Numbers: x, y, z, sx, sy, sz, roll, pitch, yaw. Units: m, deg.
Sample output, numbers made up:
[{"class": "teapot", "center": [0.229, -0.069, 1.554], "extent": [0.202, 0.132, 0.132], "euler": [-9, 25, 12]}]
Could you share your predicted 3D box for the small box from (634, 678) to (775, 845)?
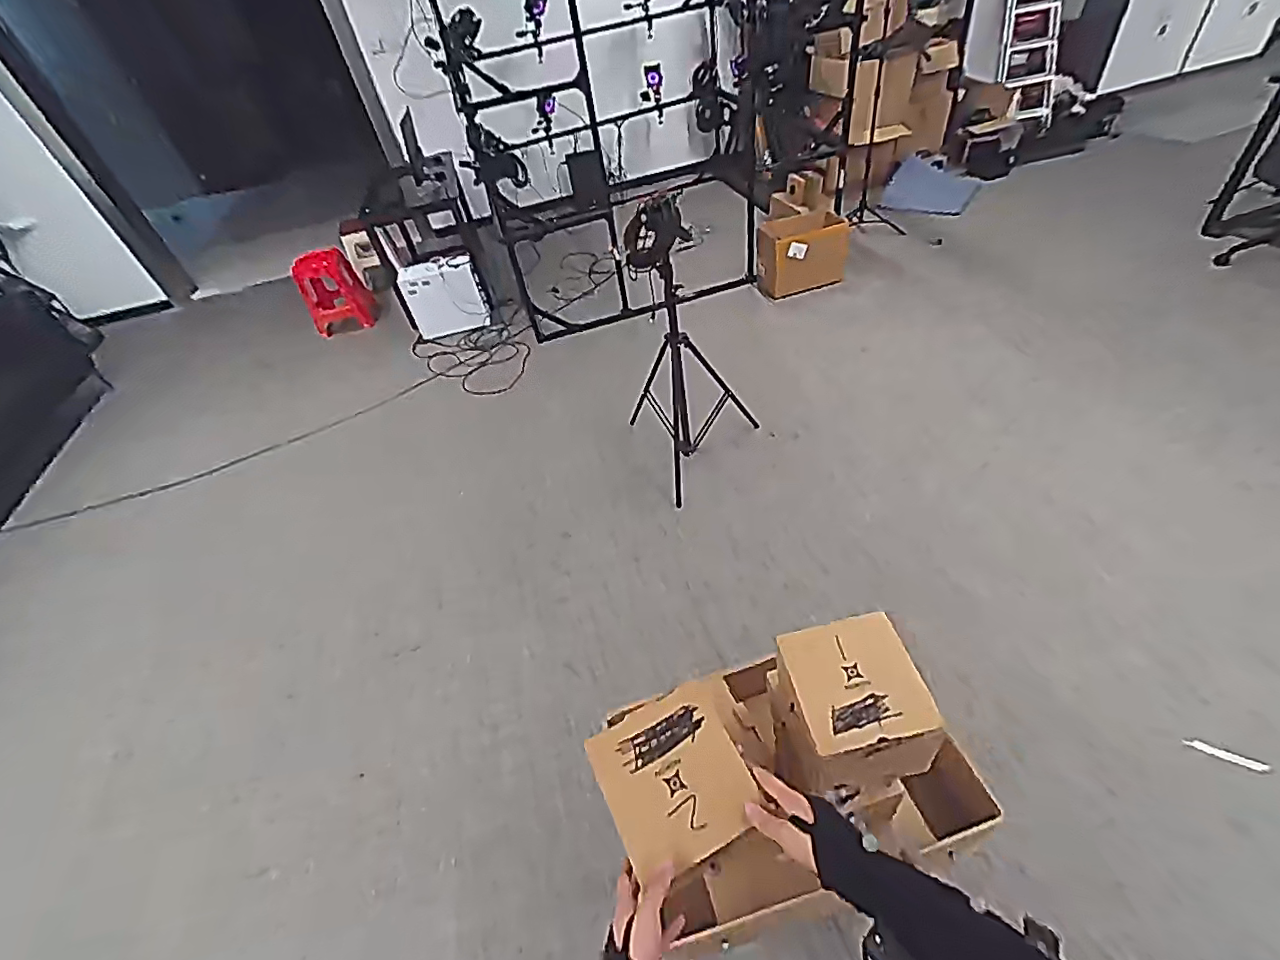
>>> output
[{"class": "small box", "center": [0.108, 0.477, 0.917], "extent": [0.179, 0.176, 0.168], "euler": [-23, 45, -11]}]

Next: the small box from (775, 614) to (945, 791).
[{"class": "small box", "center": [0.305, 0.328, 0.784], "extent": [0.168, 0.176, 0.179], "euler": [-15, 43, 2]}]

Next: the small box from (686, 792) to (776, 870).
[{"class": "small box", "center": [0.138, 0.596, 1.027], "extent": [0.168, 0.176, 0.179], "euler": [-23, 45, -11]}]
